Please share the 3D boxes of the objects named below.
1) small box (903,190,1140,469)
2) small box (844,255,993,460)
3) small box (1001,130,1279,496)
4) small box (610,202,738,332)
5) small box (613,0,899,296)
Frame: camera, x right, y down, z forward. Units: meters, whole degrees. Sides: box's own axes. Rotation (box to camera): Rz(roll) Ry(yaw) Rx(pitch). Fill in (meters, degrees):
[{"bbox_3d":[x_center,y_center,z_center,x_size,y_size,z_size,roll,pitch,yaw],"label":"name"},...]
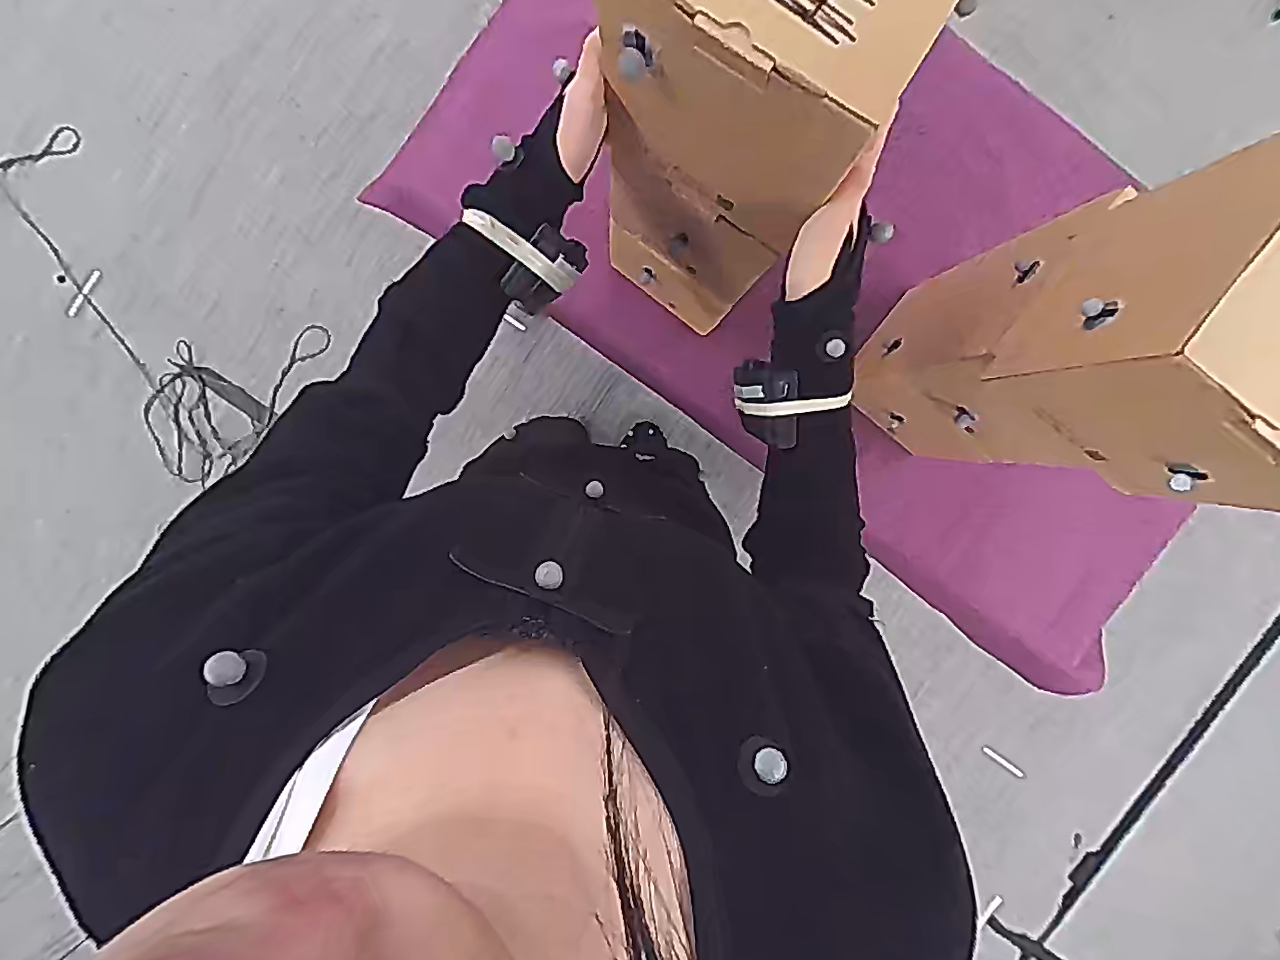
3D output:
[{"bbox_3d":[0.404,-0.131,0.533,0.168,0.176,0.179,38,93,-5],"label":"small box"},{"bbox_3d":[0.393,-0.144,0.696,0.168,0.176,0.179,39,92,-6],"label":"small box"},{"bbox_3d":[0.400,-0.099,0.372,0.168,0.176,0.179,35,92,-6],"label":"small box"},{"bbox_3d":[0.079,-0.310,0.670,0.168,0.176,0.179,37,91,-5],"label":"small box"},{"bbox_3d":[0.090,-0.302,0.506,0.168,0.176,0.179,34,92,-5],"label":"small box"}]
